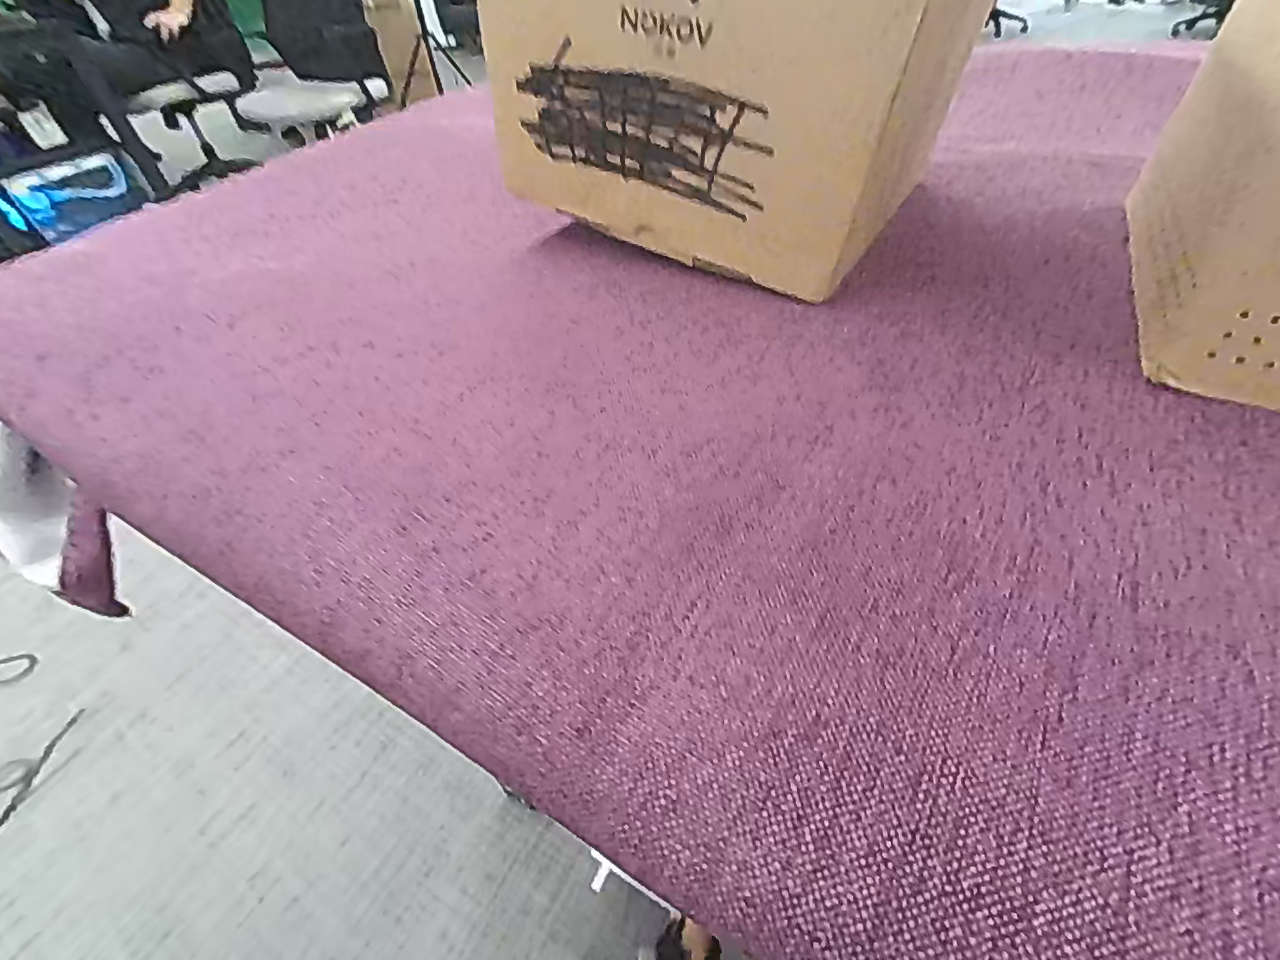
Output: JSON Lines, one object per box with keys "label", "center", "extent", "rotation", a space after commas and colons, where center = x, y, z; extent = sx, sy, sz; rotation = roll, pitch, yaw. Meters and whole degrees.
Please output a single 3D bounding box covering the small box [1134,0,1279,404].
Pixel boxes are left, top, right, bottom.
{"label": "small box", "center": [0.273, -0.117, 0.140], "extent": [0.168, 0.176, 0.179], "rotation": [20, 50, 23]}
